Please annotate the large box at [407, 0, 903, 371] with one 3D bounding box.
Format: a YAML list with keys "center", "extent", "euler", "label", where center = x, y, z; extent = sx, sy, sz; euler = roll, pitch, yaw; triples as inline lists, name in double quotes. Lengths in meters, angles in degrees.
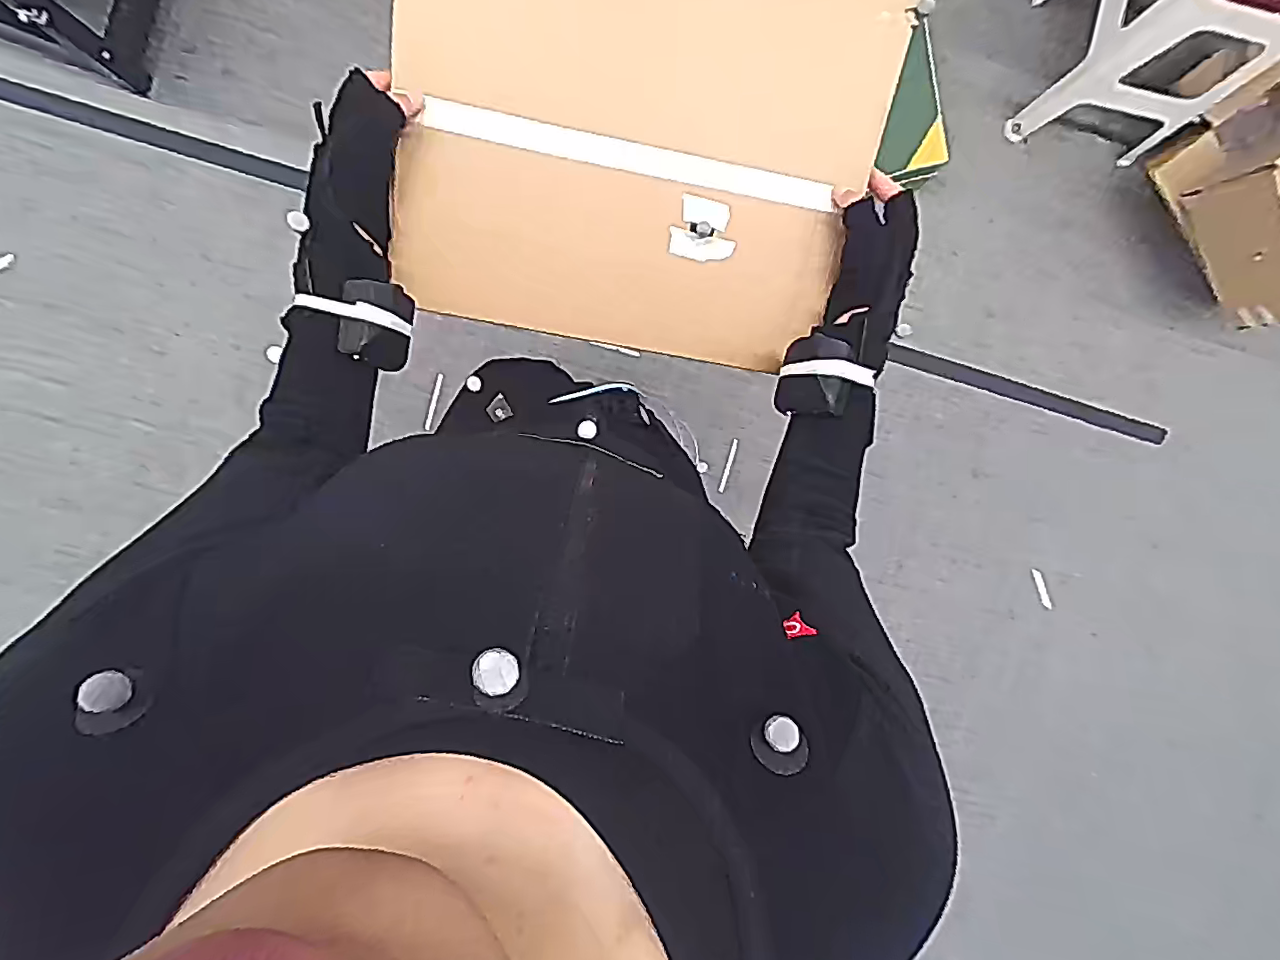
- center: [-0.010, -0.326, 0.615]
  extent: [0.408, 0.320, 0.320]
  euler: [8, 110, -7]
  label: "large box"
